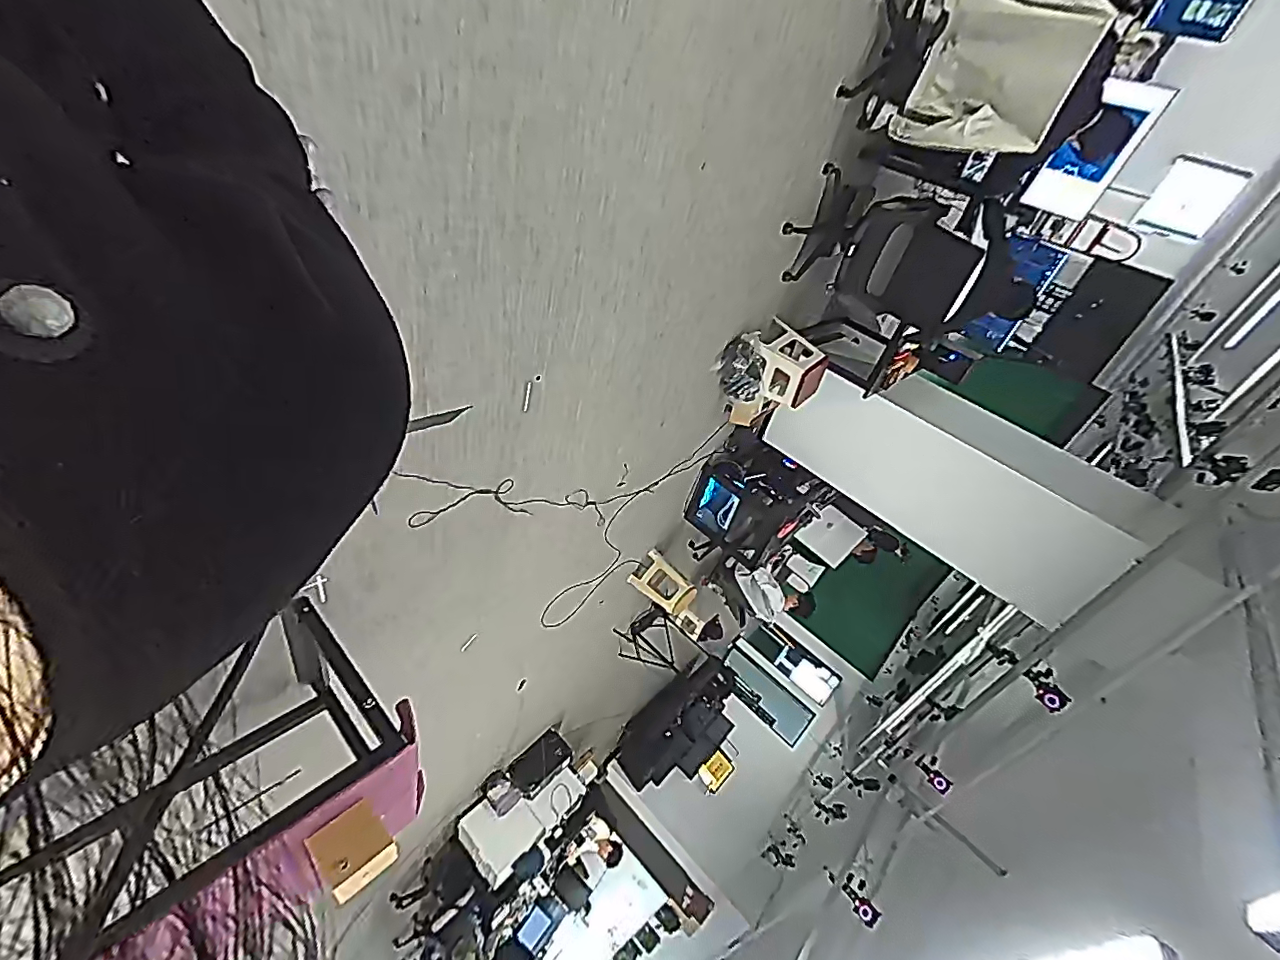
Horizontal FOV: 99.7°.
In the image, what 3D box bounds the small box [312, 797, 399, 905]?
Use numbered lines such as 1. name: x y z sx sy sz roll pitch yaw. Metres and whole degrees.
1. small box: -0.844 1.094 1.601 0.179 0.176 0.168 -28 148 -41
